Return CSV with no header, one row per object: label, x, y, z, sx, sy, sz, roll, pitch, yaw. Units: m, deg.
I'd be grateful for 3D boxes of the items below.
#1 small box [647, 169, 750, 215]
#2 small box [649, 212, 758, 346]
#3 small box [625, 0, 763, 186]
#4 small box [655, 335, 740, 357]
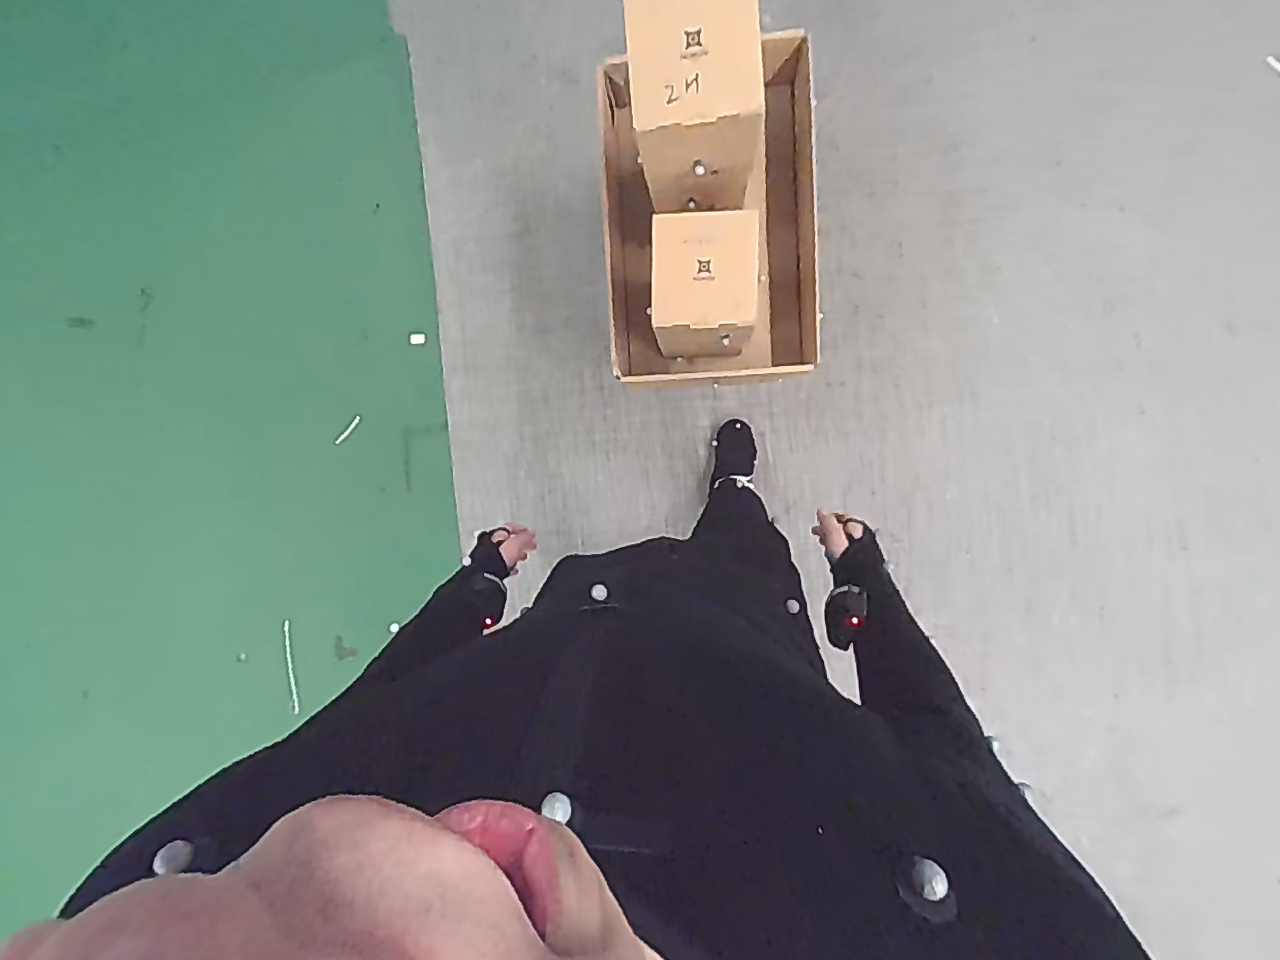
small box,0.094,-0.568,0.906,0.168,0.176,0.179,-2,96,7
small box,0.107,-0.327,0.914,0.168,0.176,0.179,1,93,6
small box,0.075,-0.539,0.744,0.168,0.176,0.179,-3,96,8
small box,0.118,-0.344,1.076,0.168,0.176,0.179,-1,92,7
